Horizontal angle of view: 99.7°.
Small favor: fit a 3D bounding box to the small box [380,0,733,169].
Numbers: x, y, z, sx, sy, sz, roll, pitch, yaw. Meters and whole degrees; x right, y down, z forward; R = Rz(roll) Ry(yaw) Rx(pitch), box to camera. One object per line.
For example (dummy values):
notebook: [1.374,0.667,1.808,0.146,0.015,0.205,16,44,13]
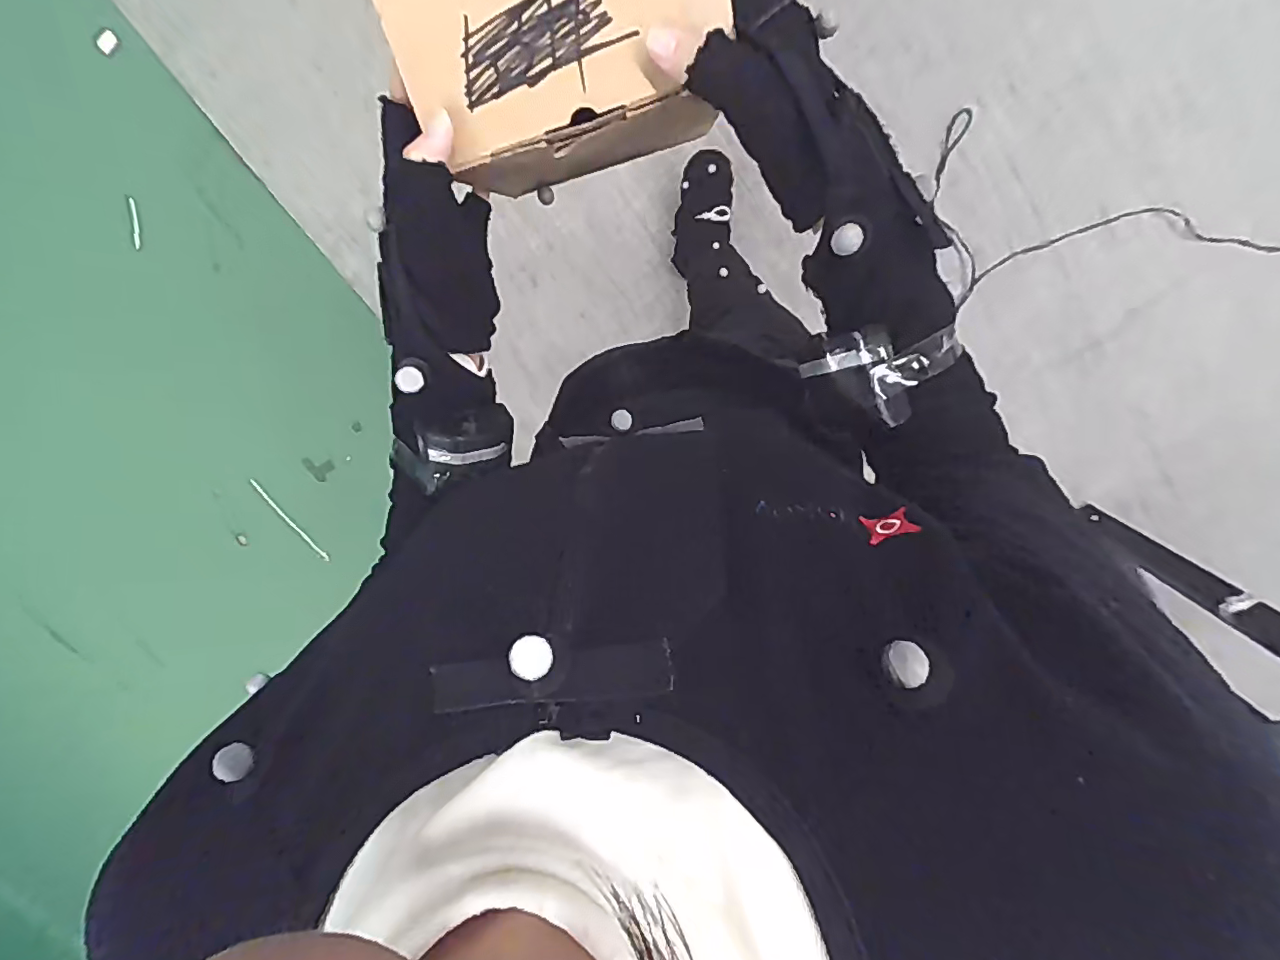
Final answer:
small box: [-0.052,-0.304,0.319,0.168,0.176,0.179,-17,114,10]
